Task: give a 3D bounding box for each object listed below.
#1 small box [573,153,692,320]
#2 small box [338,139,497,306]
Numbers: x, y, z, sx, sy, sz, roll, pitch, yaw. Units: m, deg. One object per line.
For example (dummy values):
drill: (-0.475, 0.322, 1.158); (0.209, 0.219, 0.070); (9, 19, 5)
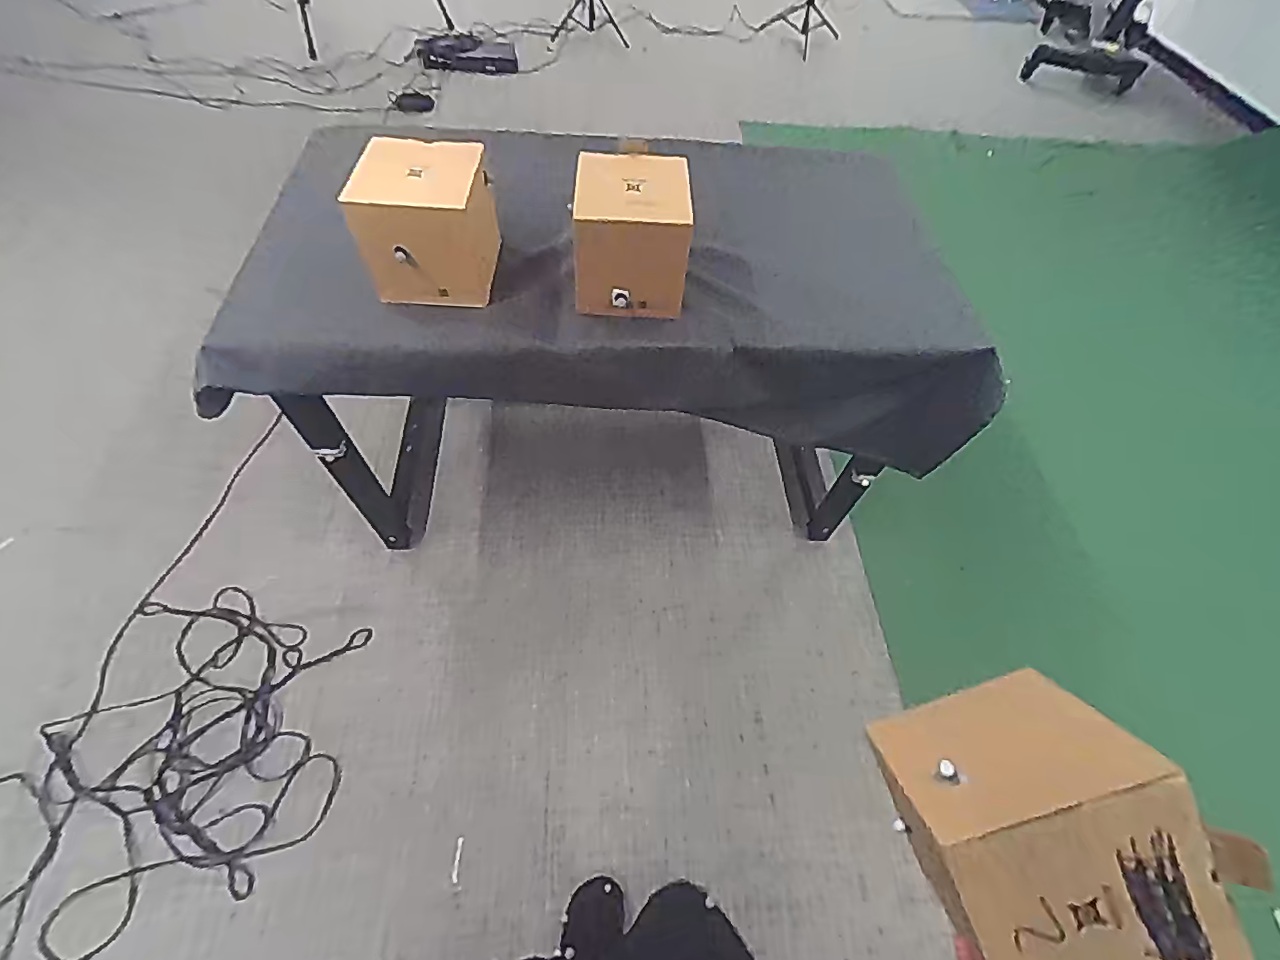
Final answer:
small box: (-0.015, -0.374, 0.839); (0.168, 0.176, 0.179); (0, 57, -3)
small box: (-0.320, -0.385, 0.822); (0.168, 0.176, 0.179); (1, 56, -4)
